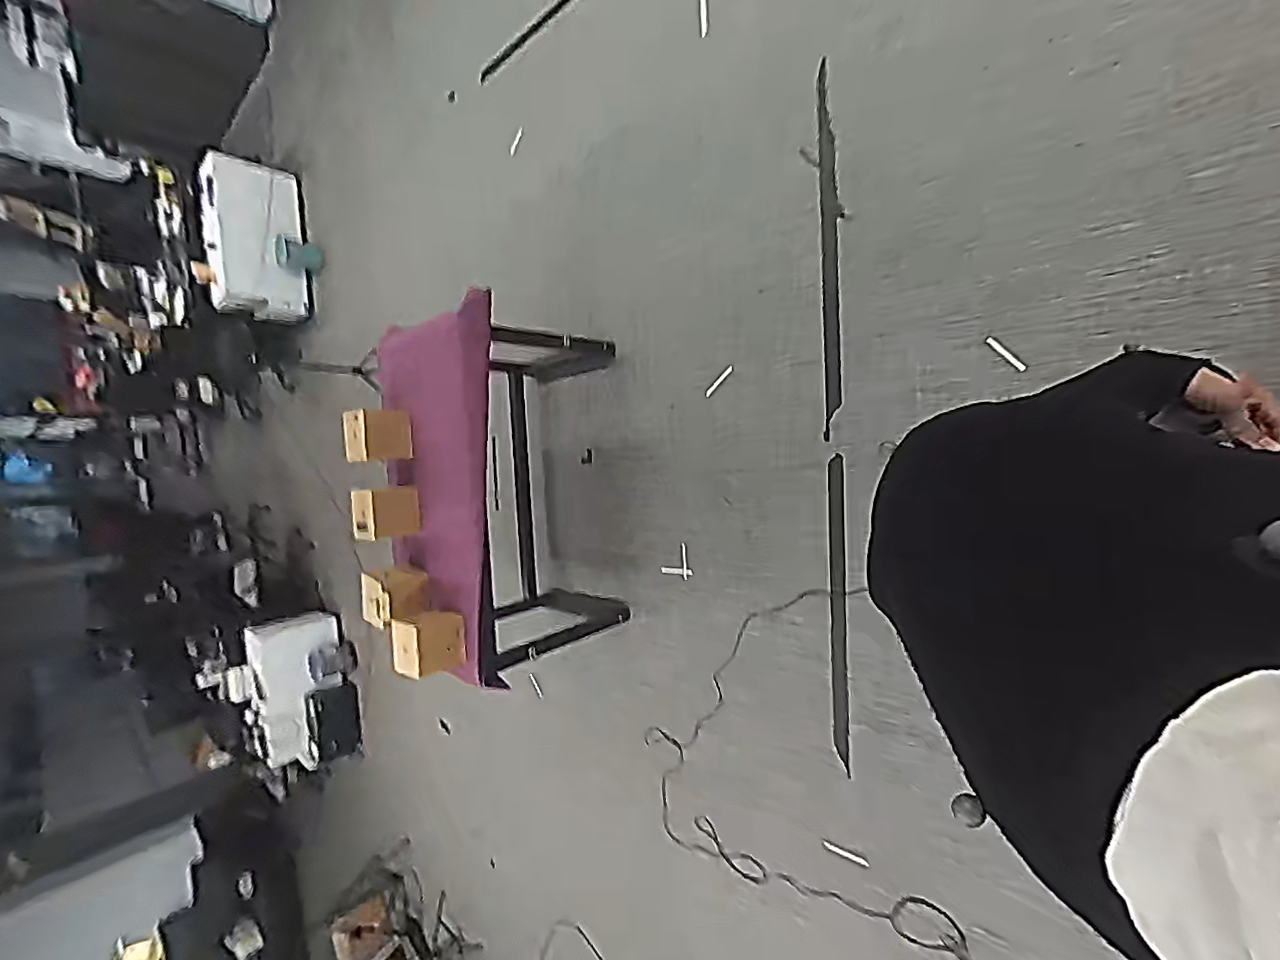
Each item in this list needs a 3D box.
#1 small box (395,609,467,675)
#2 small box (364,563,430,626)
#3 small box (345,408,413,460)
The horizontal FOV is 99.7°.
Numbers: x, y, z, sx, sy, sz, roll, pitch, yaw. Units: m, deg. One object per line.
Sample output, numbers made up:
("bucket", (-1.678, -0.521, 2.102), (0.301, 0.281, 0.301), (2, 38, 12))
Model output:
("small box", (-0.701, 0.535, 1.816), (0.179, 0.176, 0.168), (-5, 89, 41))
("small box", (-0.878, 0.408, 1.962), (0.179, 0.176, 0.168), (8, 99, 41))
("small box", (-0.939, -0.168, 1.952), (0.168, 0.176, 0.179), (0, 96, 39))
